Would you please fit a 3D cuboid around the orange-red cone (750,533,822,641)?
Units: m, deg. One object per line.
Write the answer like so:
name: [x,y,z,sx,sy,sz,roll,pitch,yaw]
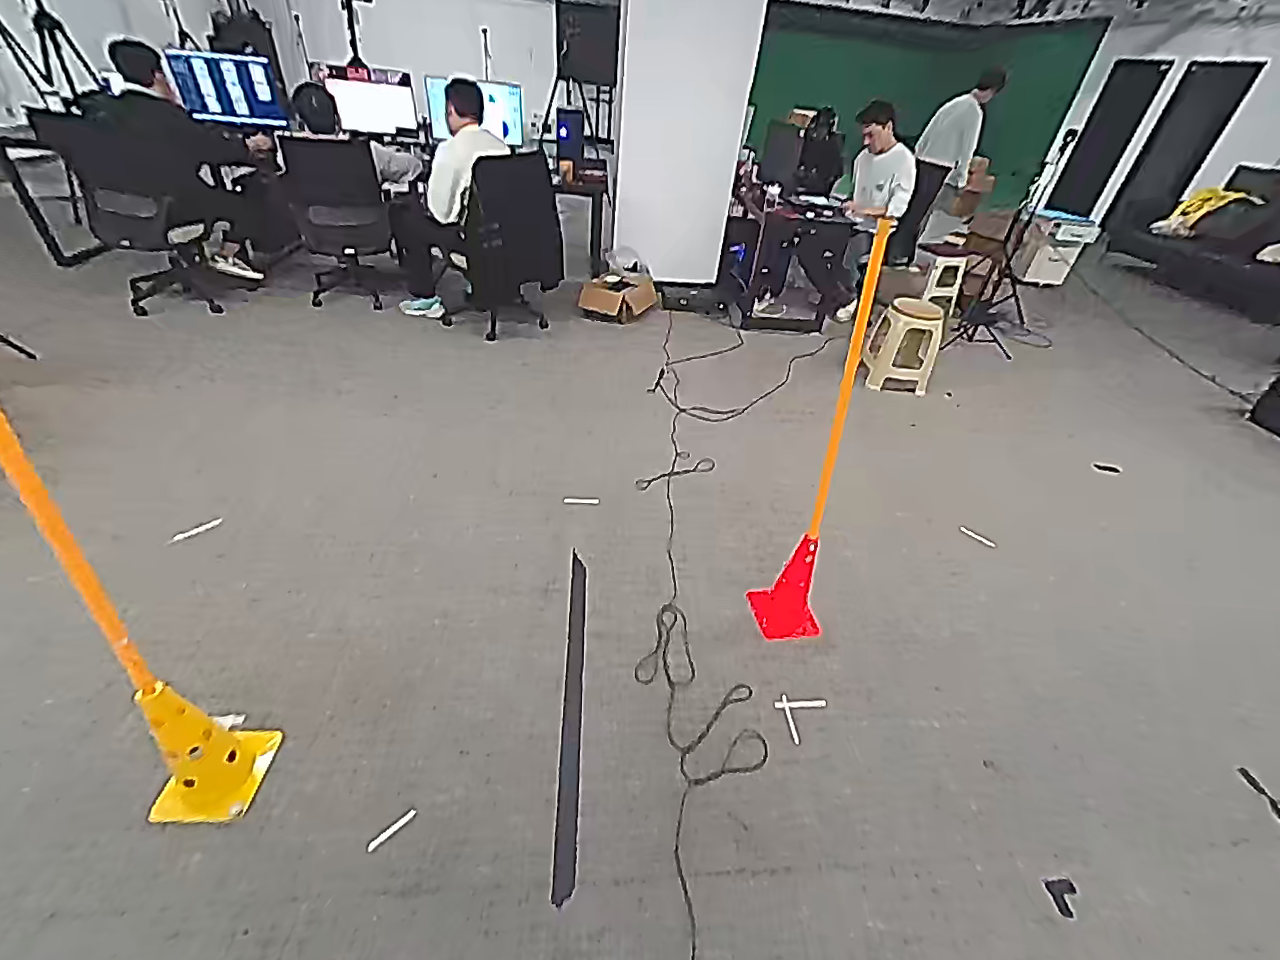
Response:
orange-red cone: [0.488,0.306,1.673,0.199,0.360,0.198,-2,37,-9]
